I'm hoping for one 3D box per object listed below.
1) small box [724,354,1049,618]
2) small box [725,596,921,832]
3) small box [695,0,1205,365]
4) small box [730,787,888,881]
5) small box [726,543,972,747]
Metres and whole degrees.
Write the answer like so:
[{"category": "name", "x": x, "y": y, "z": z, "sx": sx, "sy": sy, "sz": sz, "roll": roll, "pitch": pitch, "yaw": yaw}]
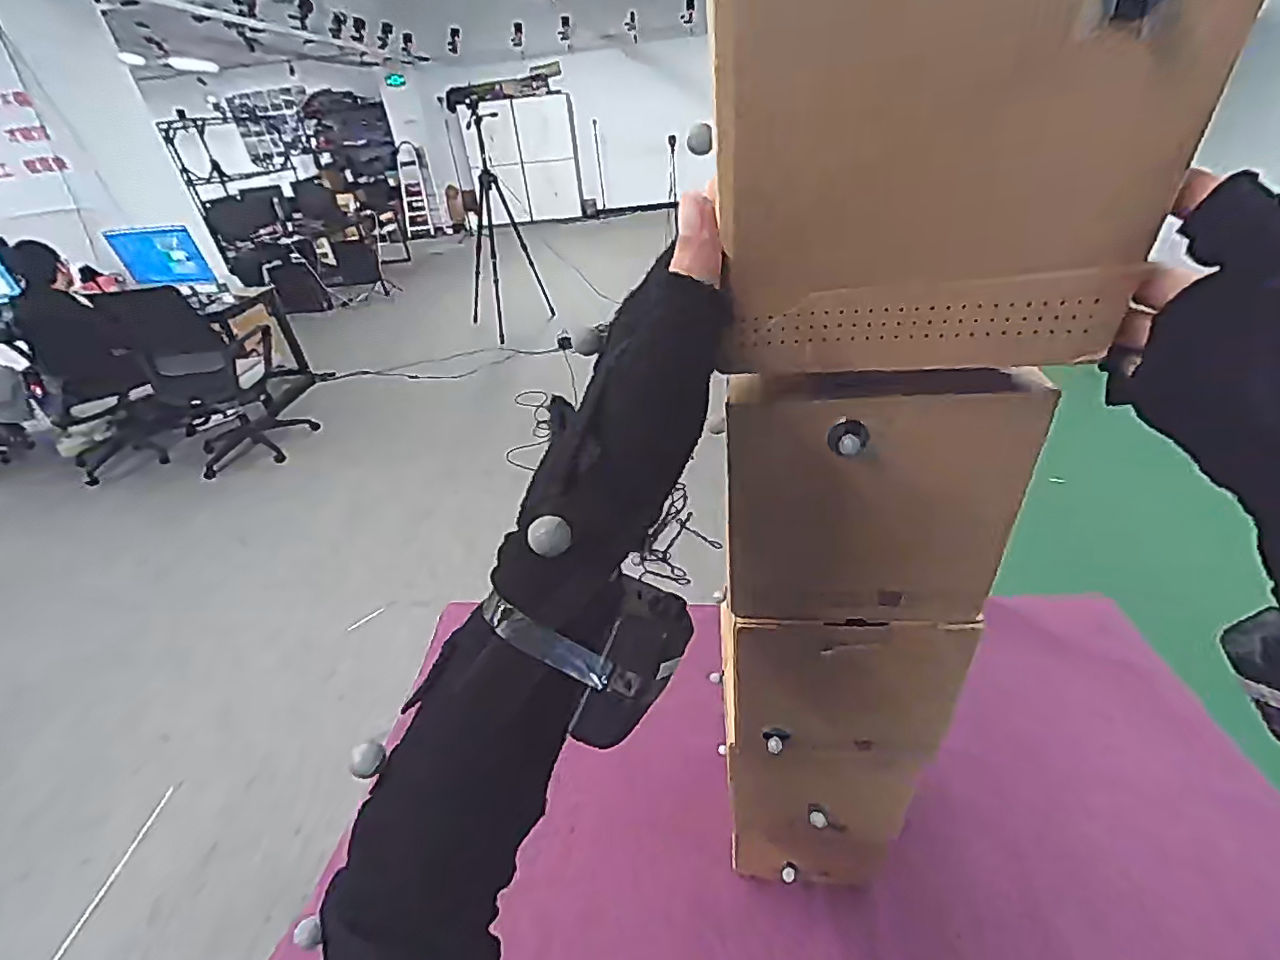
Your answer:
[{"category": "small box", "x": 0.146, "y": -0.023, "z": 0.398, "sx": 0.168, "sy": 0.176, "sz": 0.179, "roll": -1, "pitch": 34, "yaw": 9}, {"category": "small box", "x": 0.177, "y": 0.244, "z": 0.585, "sx": 0.168, "sy": 0.176, "sz": 0.179, "roll": -3, "pitch": 34, "yaw": 8}, {"category": "small box", "x": 0.123, "y": -0.167, "z": 0.276, "sx": 0.179, "sy": 0.176, "sz": 0.168, "roll": 1, "pitch": 39, "yaw": 9}, {"category": "small box", "x": 0.199, "y": 0.370, "z": 0.688, "sx": 0.168, "sy": 0.176, "sz": 0.179, "roll": -2, "pitch": 35, "yaw": 9}, {"category": "small box", "x": 0.163, "y": 0.114, "z": 0.485, "sx": 0.168, "sy": 0.176, "sz": 0.179, "roll": -2, "pitch": 34, "yaw": 8}]
